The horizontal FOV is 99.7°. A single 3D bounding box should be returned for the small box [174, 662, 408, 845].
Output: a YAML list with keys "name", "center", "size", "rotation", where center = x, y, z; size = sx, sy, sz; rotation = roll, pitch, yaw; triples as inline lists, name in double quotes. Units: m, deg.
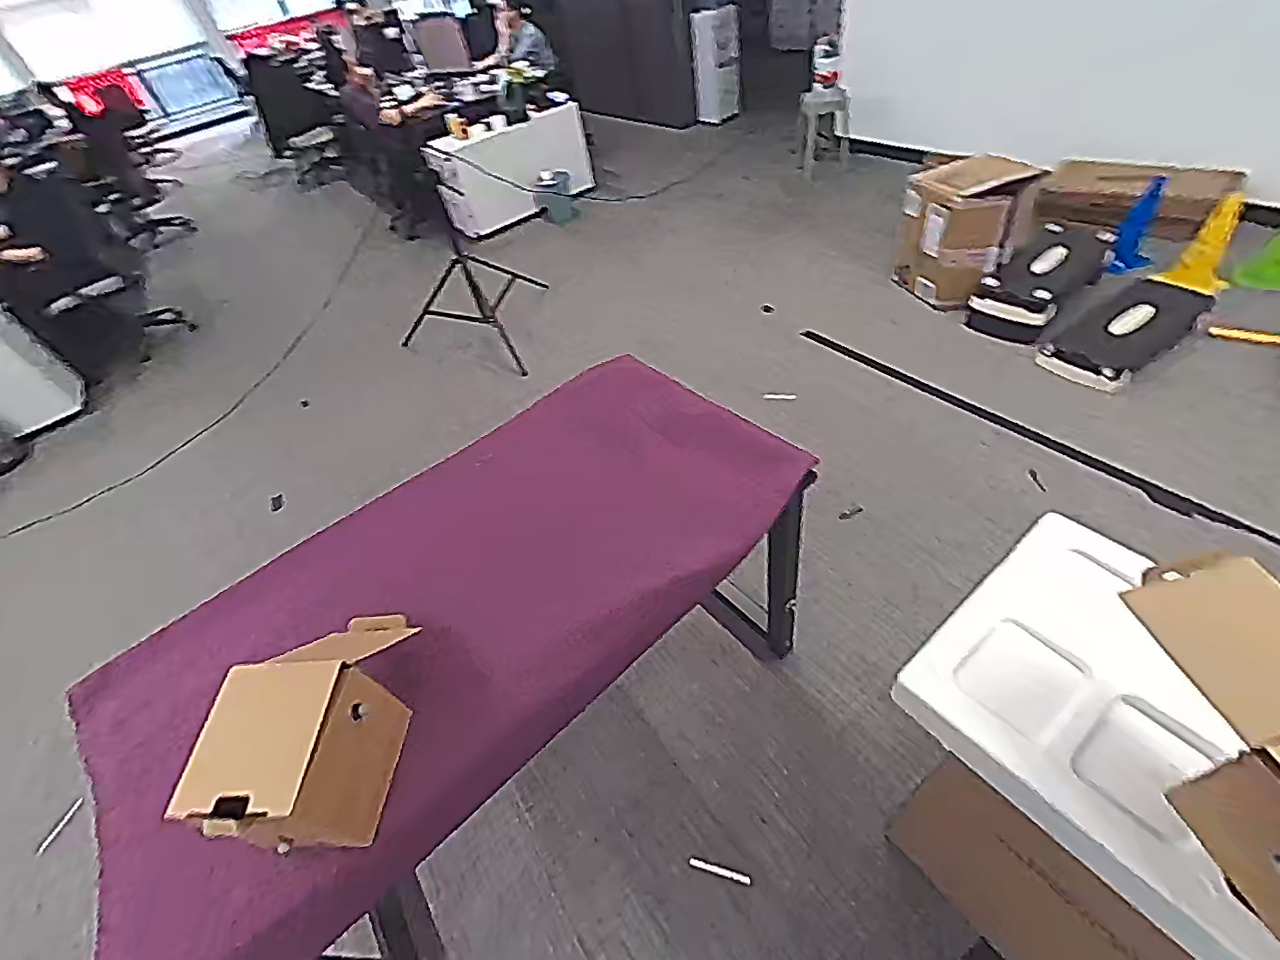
- name: "small box"
  center: [-0.440, 0.365, 0.723]
  size: [0.168, 0.176, 0.179]
  rotation: [-6, 45, 9]
